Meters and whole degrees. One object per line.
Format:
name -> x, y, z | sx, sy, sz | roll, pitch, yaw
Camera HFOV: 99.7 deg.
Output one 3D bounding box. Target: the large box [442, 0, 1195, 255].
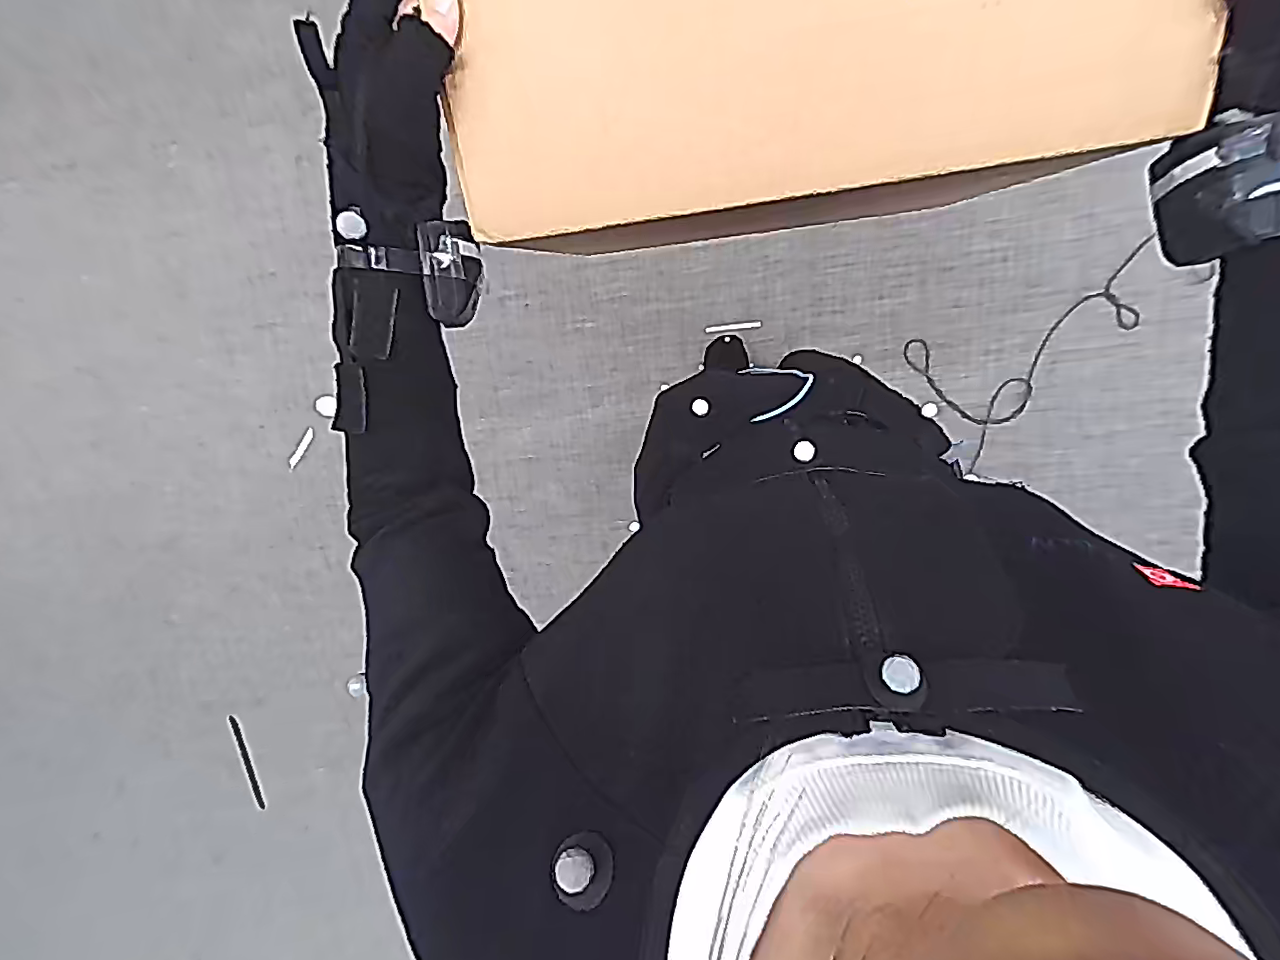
large box -> 0.091, -0.373, 0.413 | 0.408, 0.320, 0.320 | -5, 111, 9
